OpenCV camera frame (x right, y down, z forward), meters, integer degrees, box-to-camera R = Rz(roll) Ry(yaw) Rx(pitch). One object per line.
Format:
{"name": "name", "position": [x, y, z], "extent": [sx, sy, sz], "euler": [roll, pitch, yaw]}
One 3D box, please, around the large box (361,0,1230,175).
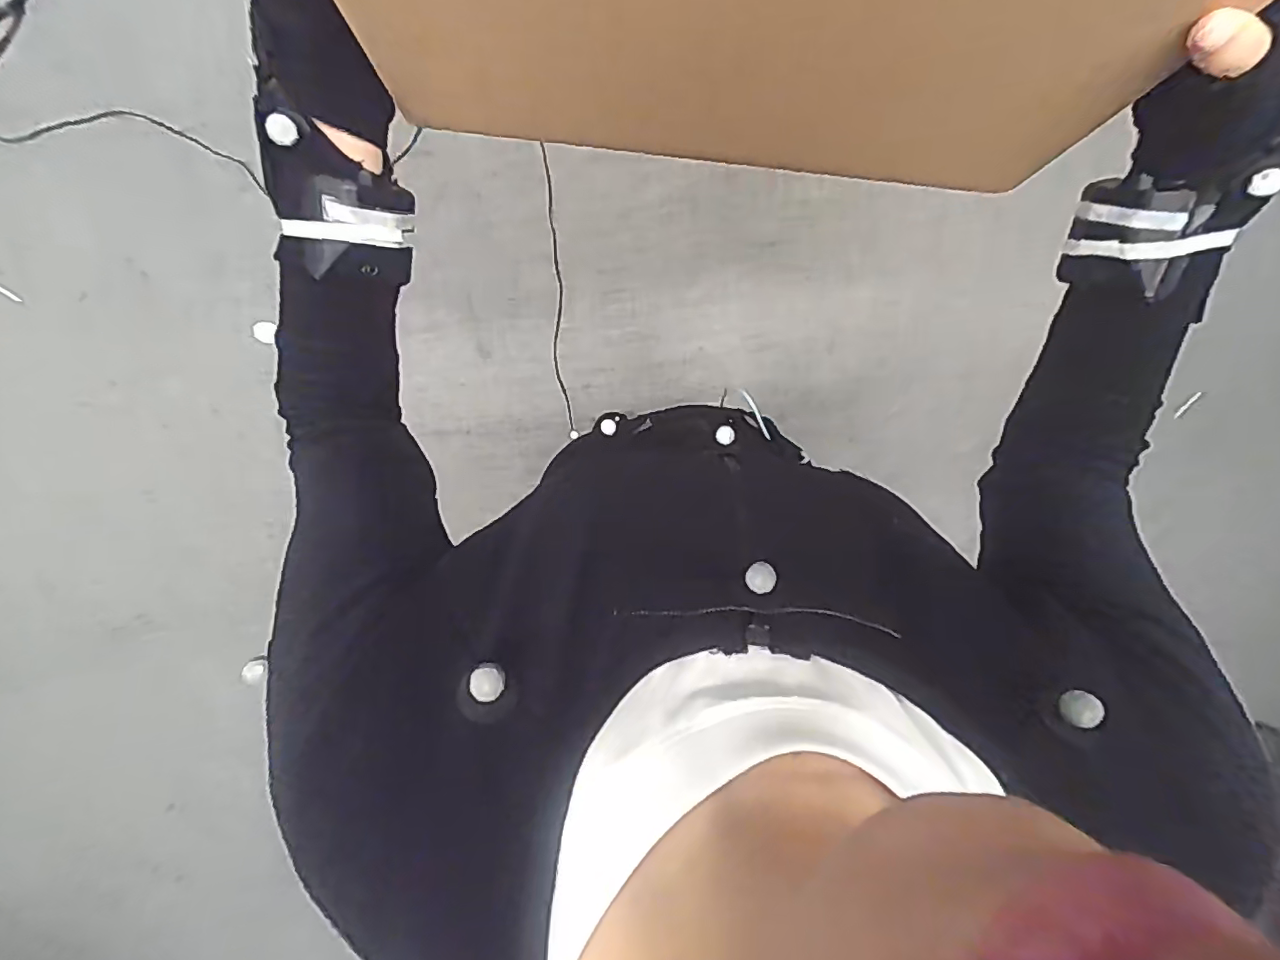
{"name": "large box", "position": [0.071, -0.369, 0.211], "extent": [0.408, 0.320, 0.320], "euler": [5, 91, -3]}
